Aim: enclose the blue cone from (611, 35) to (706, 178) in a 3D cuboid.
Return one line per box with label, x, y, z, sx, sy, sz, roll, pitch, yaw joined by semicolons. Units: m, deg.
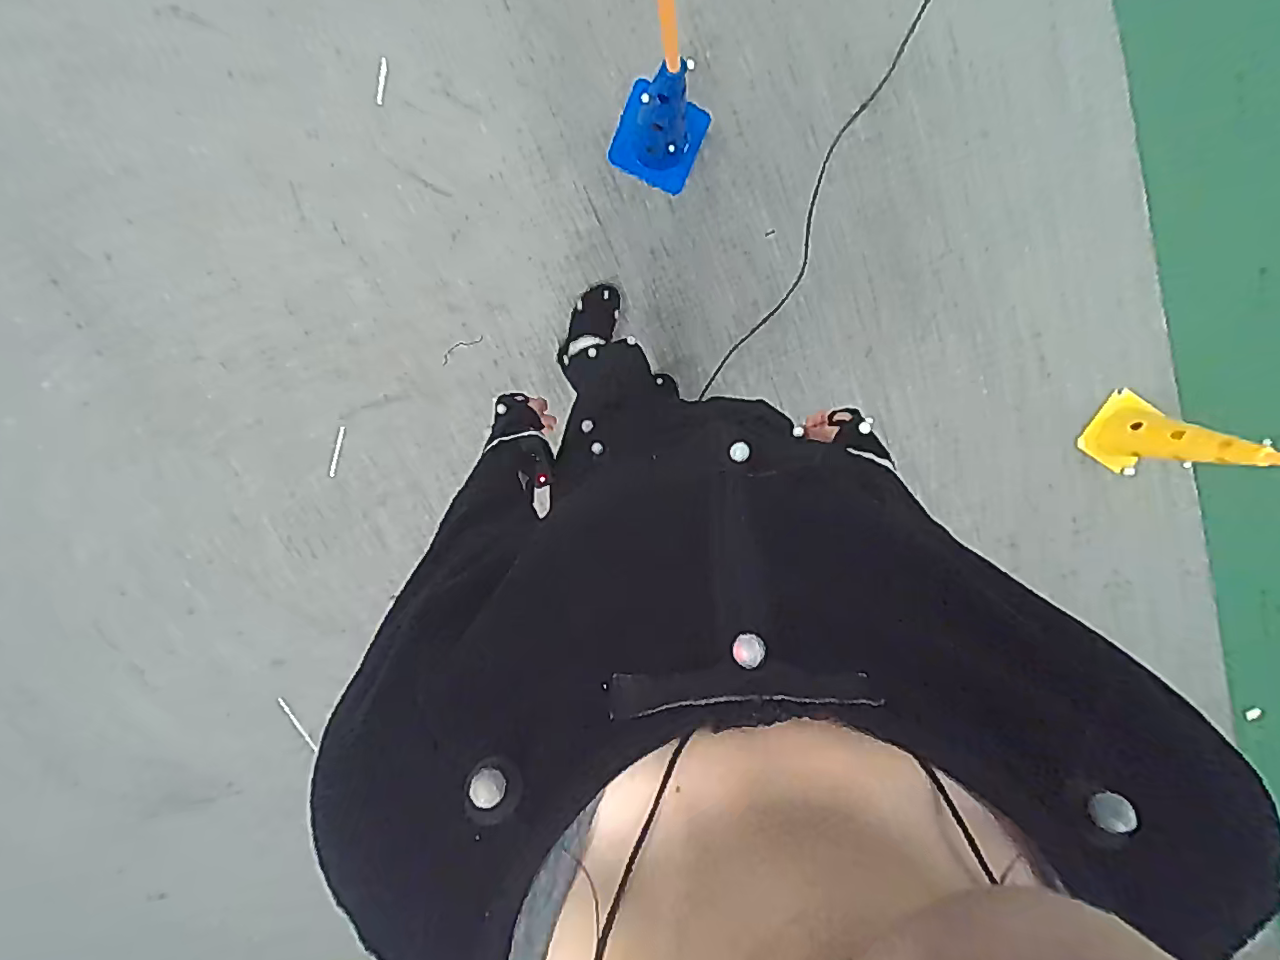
blue cone;0.045;-0.779;1.103;0.193;0.380;0.192;20;104;-7
